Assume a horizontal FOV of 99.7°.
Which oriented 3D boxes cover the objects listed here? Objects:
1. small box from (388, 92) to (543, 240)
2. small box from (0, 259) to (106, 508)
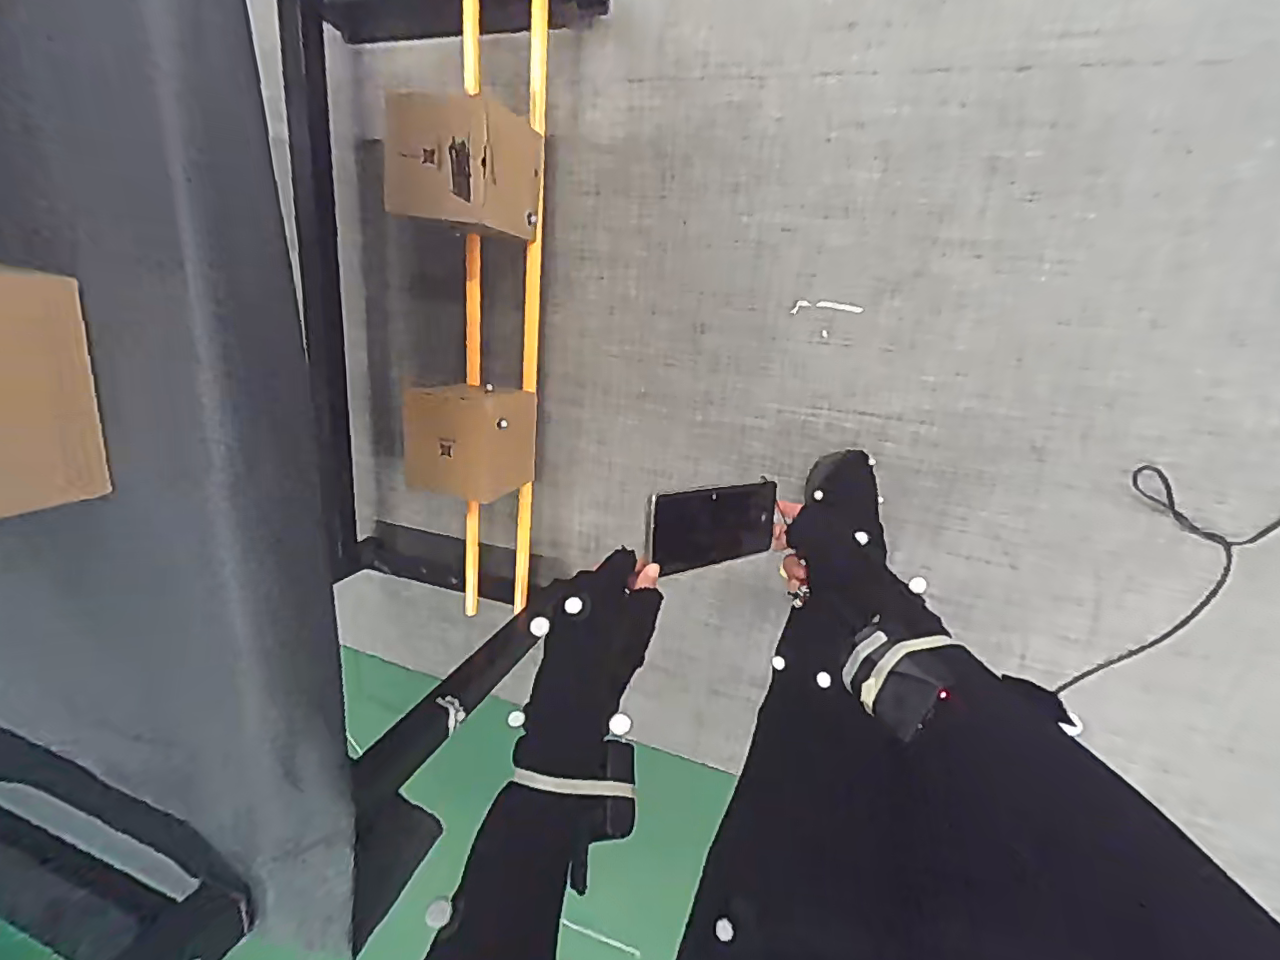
[{"bbox_3d":[-0.271,-0.489,0.863,0.179,0.176,0.168,13,108,15],"label":"small box"},{"bbox_3d":[-0.535,-0.072,0.384,0.168,0.176,0.179,13,108,15],"label":"small box"}]
